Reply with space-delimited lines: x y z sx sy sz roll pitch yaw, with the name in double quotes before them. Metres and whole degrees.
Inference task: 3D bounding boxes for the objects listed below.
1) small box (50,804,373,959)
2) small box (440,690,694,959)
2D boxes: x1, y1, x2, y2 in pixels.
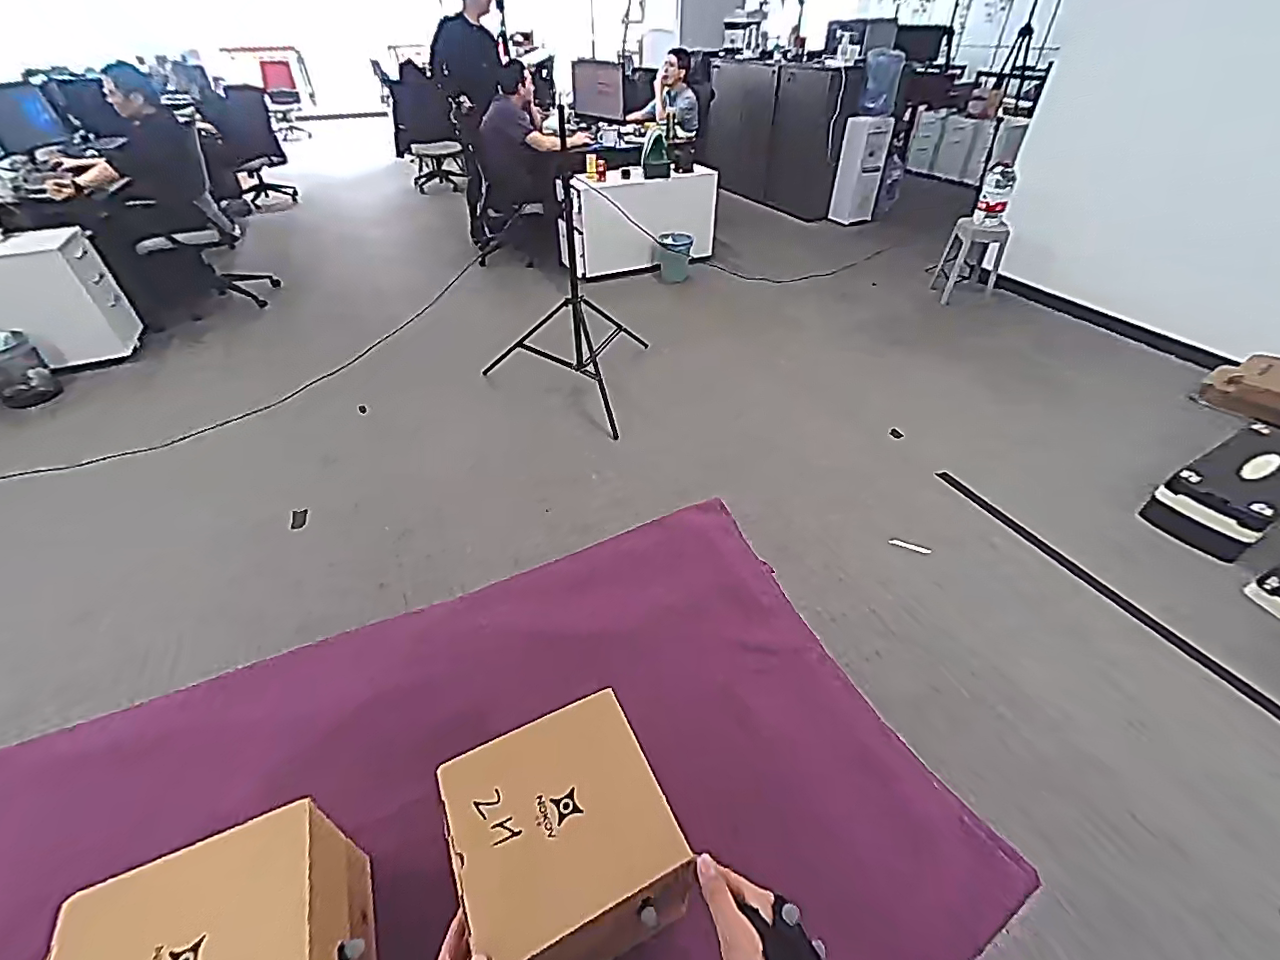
"small box" -0.328 0.410 0.438 0.179 0.176 0.168 -18 43 -18
"small box" -0.067 0.341 0.508 0.179 0.176 0.168 -19 42 -19
